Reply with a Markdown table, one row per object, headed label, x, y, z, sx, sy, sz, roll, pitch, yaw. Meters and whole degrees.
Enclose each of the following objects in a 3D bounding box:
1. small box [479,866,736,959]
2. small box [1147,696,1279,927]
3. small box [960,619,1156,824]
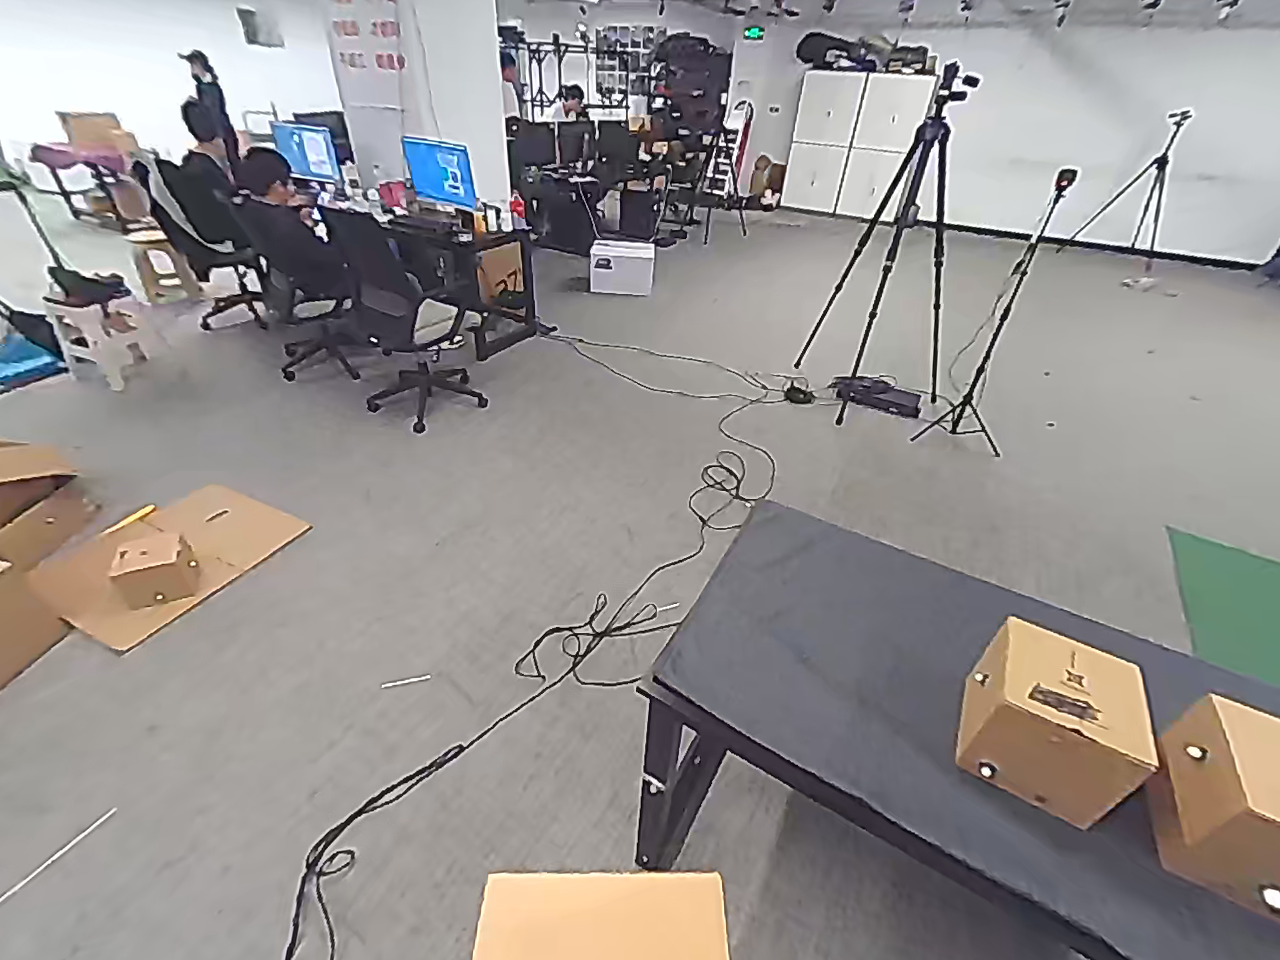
| label | x | y | z | sx | sy | sz | roll | pitch | yaw |
| --- | --- | --- | --- | --- | --- | --- | --- | --- | --- |
| small box | -0.023 | 0.388 | 0.360 | 0.168 | 0.176 | 0.179 | 1 | 39 | -2 |
| small box | 0.791 | 0.422 | 0.681 | 0.168 | 0.176 | 0.179 | 20 | 38 | 23 |
| small box | 0.582 | 0.343 | 0.776 | 0.168 | 0.176 | 0.179 | 22 | 38 | 24 |
